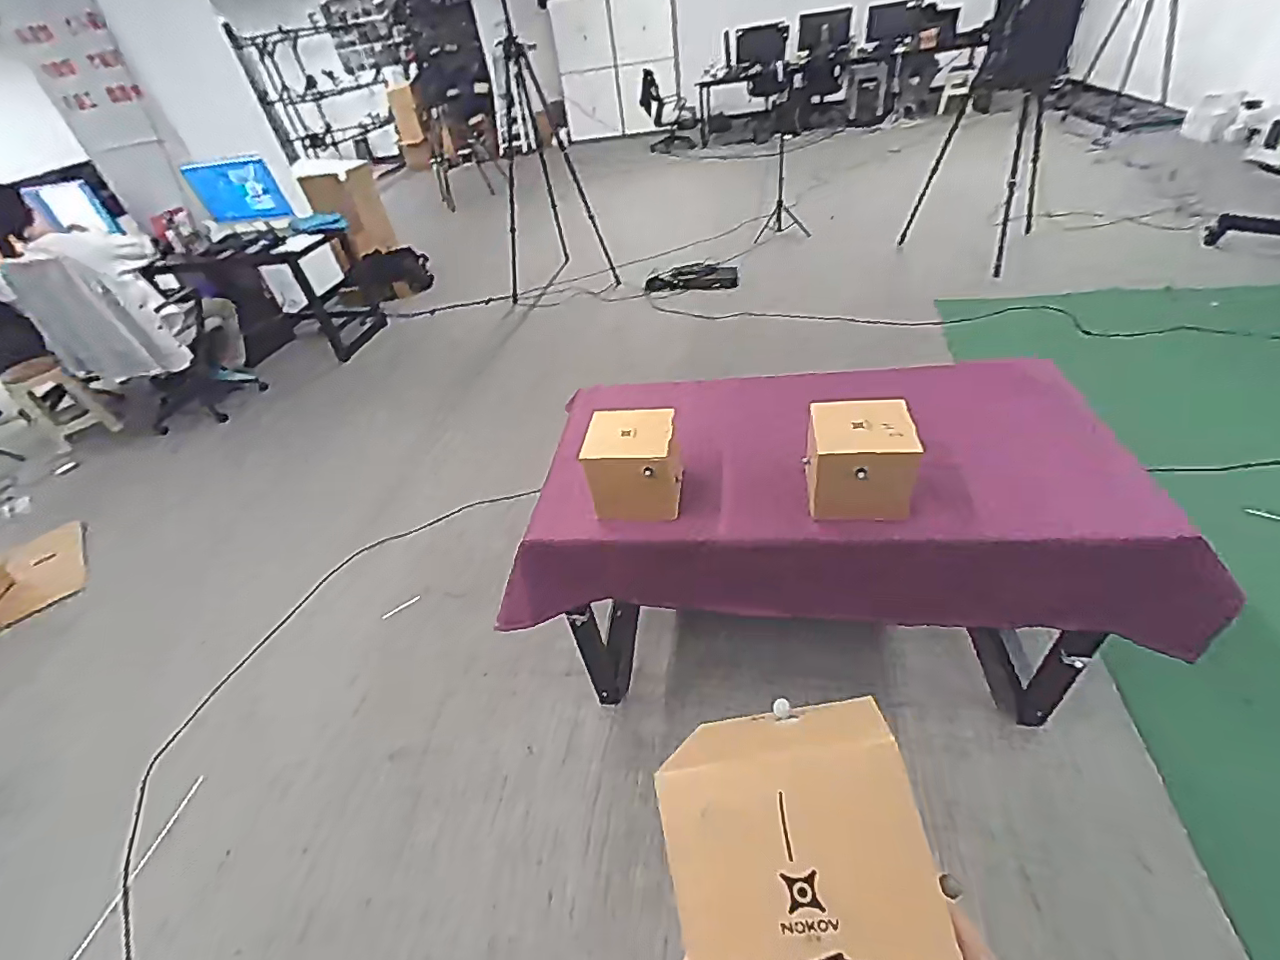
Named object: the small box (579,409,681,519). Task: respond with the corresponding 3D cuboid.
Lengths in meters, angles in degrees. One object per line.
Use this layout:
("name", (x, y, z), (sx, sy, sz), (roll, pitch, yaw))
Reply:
("small box", (-0.012, -0.032, 1.133), (0.179, 0.176, 0.168), (0, 41, 10))

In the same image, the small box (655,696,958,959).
("small box", (0.126, 0.282, 0.415), (0.168, 0.176, 0.179), (-16, 73, 13))

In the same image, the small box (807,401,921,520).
("small box", (0.420, -0.036, 1.046), (0.179, 0.176, 0.168), (0, 42, 12))
